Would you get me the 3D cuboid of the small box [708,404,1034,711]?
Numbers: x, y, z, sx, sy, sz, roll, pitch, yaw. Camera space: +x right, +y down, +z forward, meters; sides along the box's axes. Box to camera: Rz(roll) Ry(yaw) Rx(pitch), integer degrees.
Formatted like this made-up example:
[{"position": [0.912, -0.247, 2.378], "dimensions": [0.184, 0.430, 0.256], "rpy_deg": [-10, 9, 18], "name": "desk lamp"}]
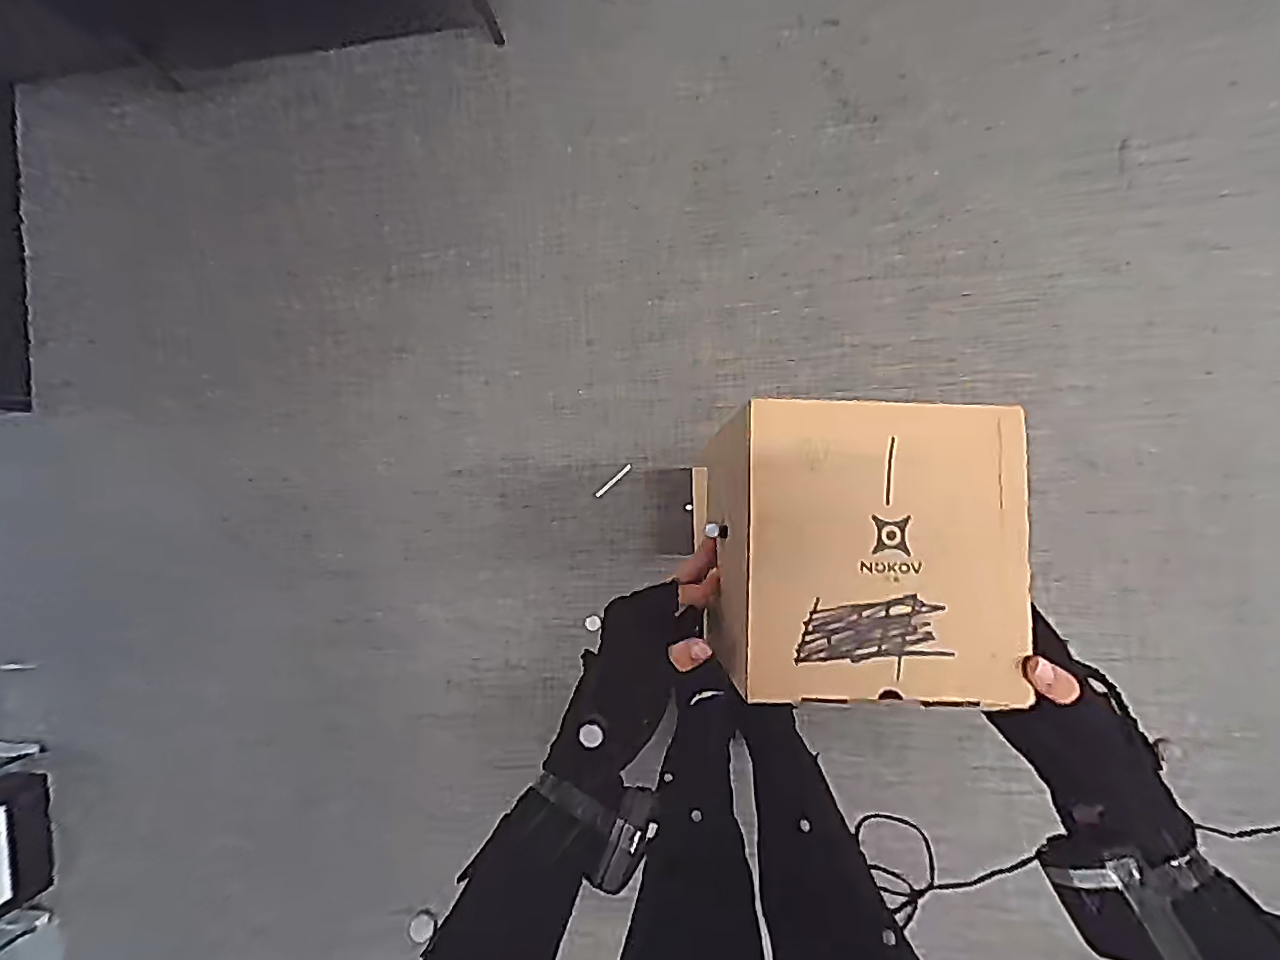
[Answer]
[{"position": [0.144, 0.049, 0.393], "dimensions": [0.168, 0.176, 0.179], "rpy_deg": [1, 85, -1], "name": "small box"}]
